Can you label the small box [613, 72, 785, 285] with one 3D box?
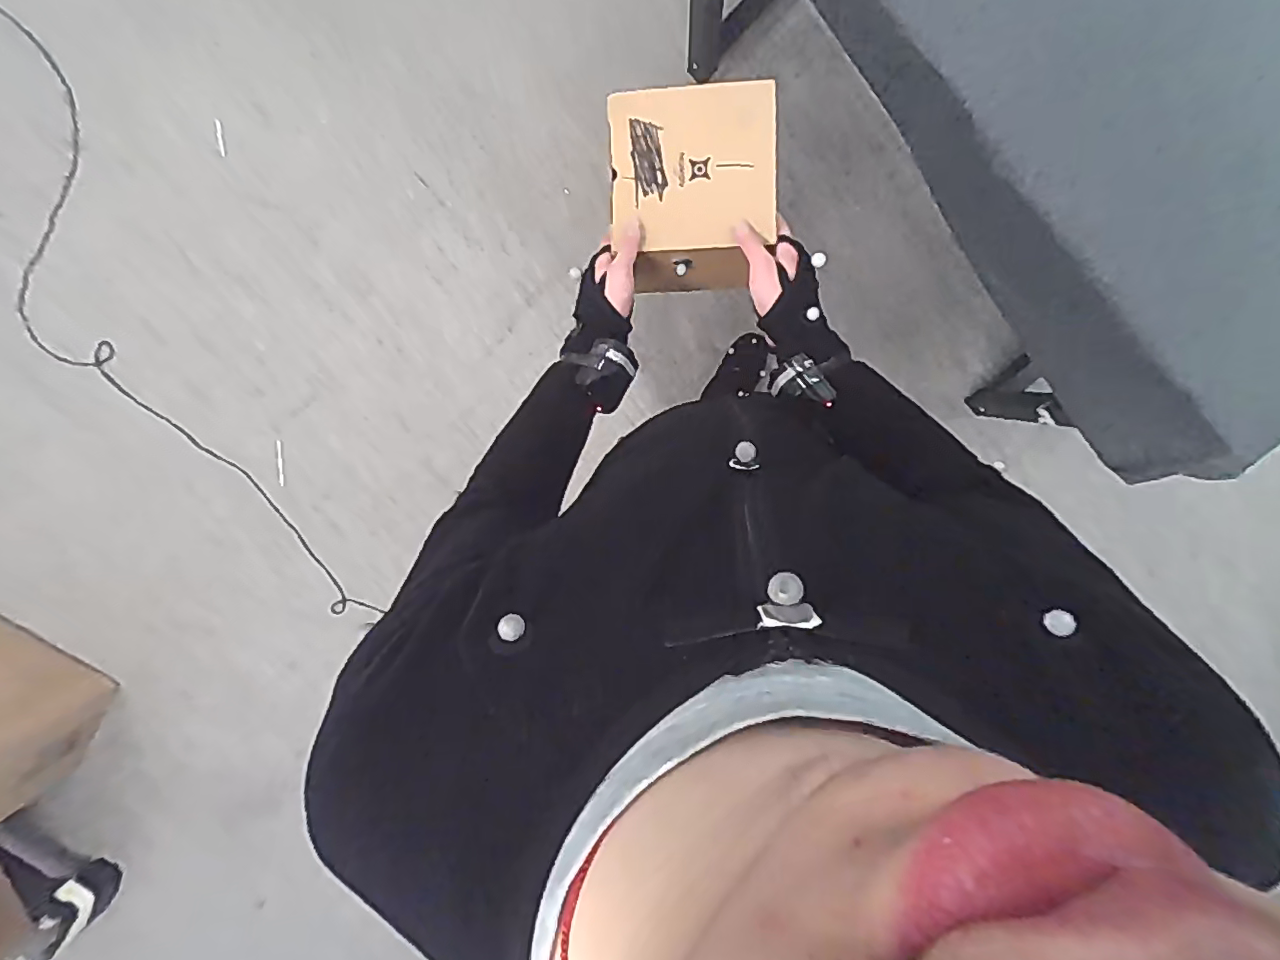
[{"bbox_3d":[0.066,-0.333,0.632,0.179,0.176,0.168,-1,96,4],"label":"small box"}]
